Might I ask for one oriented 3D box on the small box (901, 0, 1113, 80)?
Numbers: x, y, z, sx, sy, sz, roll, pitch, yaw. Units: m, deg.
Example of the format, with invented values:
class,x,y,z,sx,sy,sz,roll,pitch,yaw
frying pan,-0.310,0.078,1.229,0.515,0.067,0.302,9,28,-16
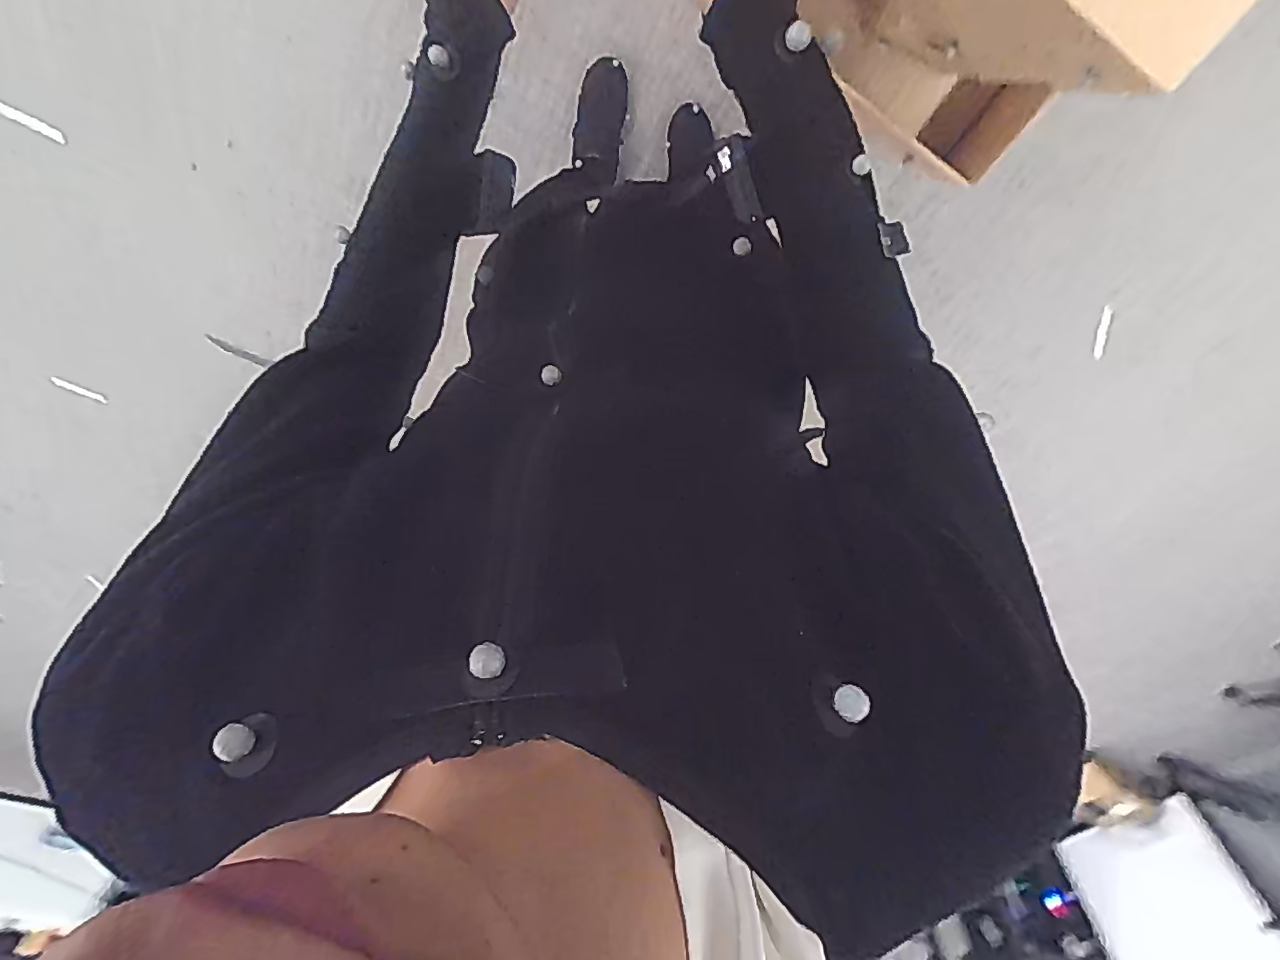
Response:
class,x,y,z,sx,sy,sz,roll,pitch,yaw
small box,0.436,-0.595,0.611,0.168,0.176,0.179,26,125,-15
